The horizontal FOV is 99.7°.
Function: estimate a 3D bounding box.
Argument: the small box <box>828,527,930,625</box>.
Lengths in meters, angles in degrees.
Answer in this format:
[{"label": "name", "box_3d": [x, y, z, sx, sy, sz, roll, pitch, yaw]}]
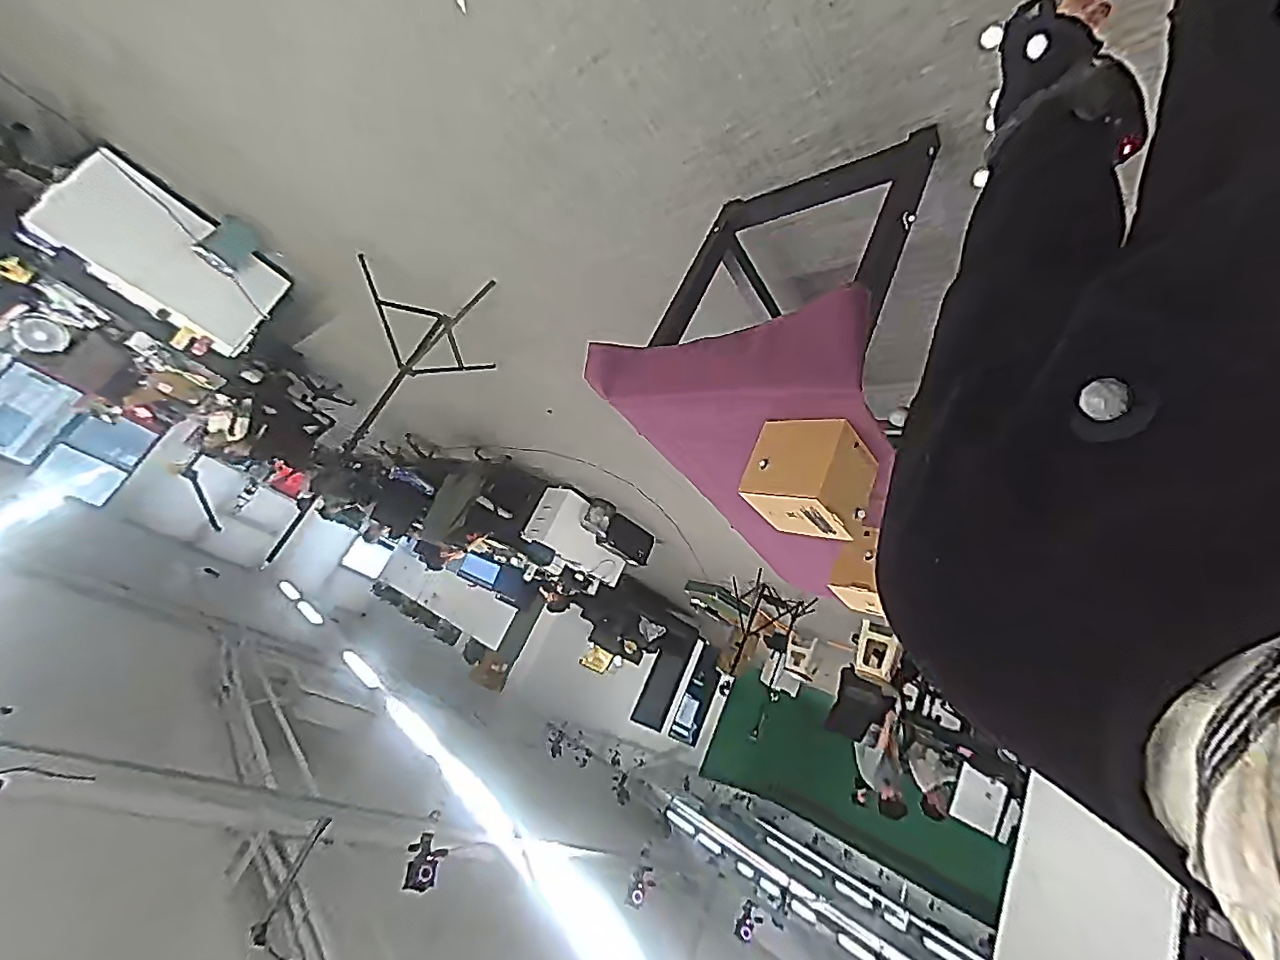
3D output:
[{"label": "small box", "box_3d": [0.590, 0.230, 1.328, 0.168, 0.176, 0.179, 5, 153, 45]}]
